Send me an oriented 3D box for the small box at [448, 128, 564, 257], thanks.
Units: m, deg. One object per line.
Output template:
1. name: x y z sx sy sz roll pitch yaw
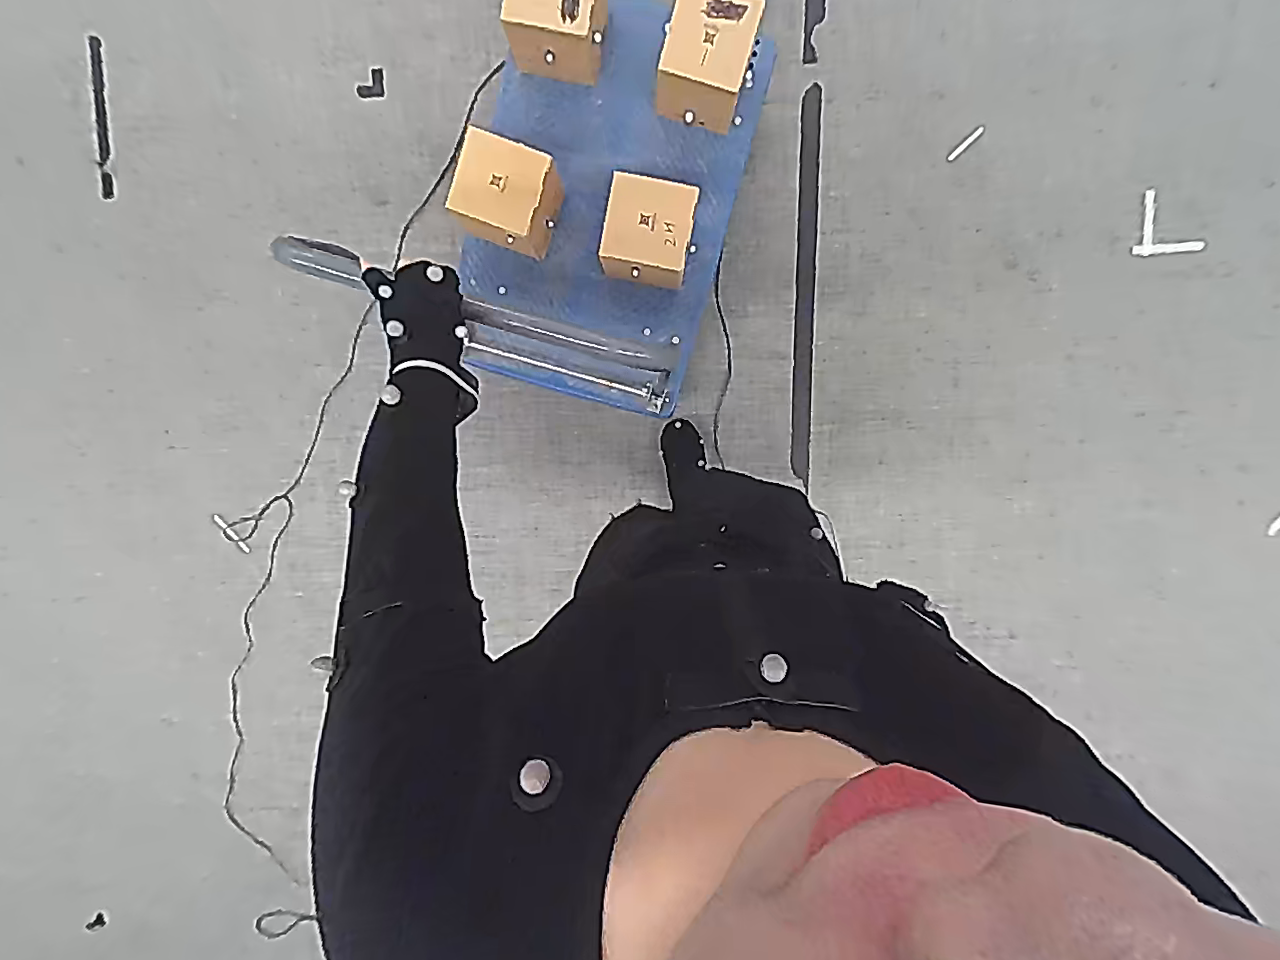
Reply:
1. small box: -0.277 -0.600 1.155 0.179 0.176 0.168 19 97 -2

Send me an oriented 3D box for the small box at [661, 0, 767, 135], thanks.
1. small box: 0.141 -0.861 1.113 0.168 0.176 0.179 17 98 -1

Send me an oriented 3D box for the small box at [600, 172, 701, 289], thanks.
1. small box: 0.023 -0.522 1.155 0.179 0.176 0.168 12 97 0
